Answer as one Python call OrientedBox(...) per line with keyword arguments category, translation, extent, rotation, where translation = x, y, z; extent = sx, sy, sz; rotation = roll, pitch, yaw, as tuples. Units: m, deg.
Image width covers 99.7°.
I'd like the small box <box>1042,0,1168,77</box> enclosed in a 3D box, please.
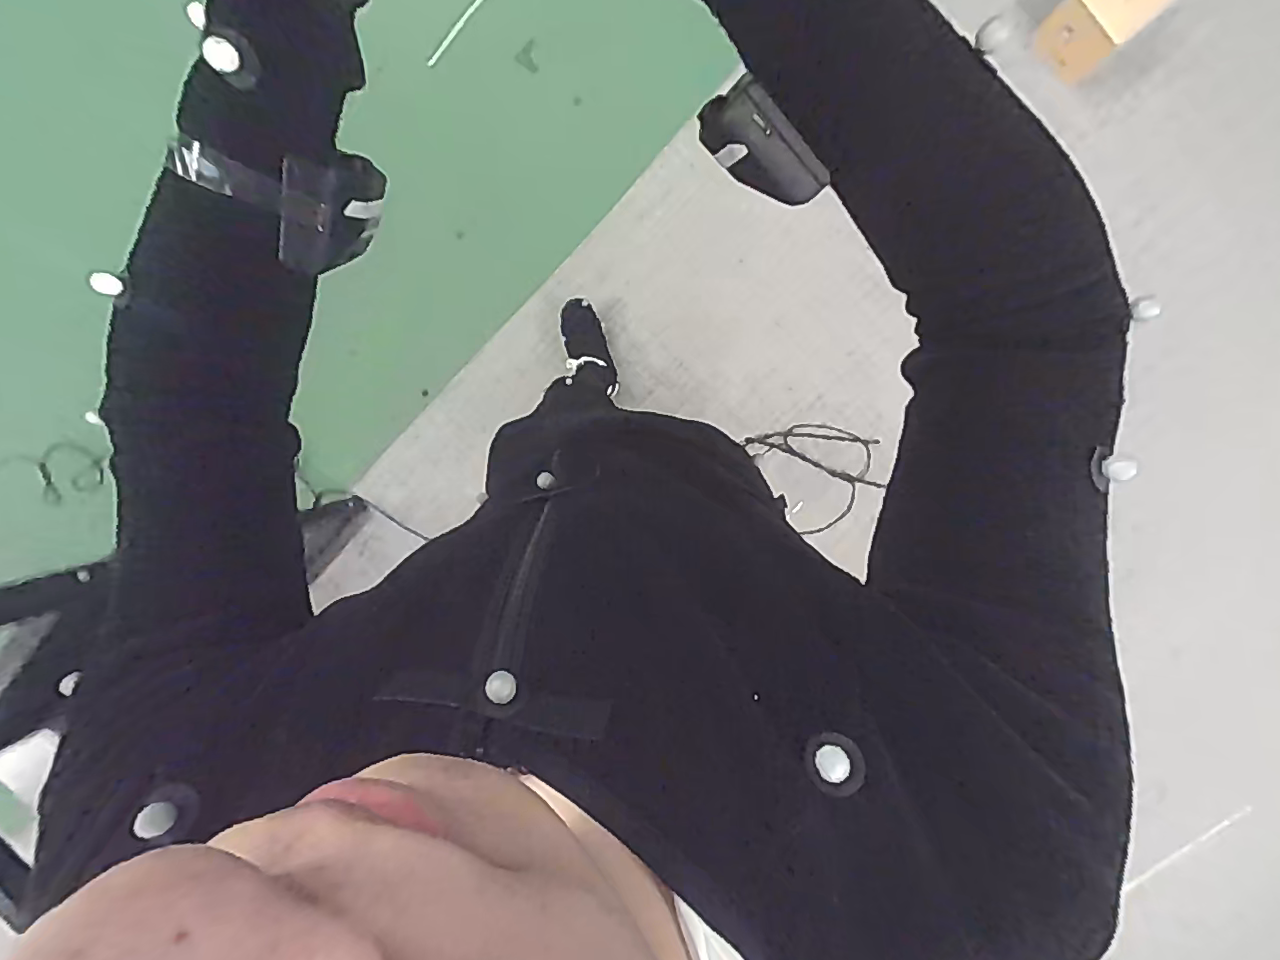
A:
OrientedBox(category="small box", translation=(1.094, -1.107, 1.264), extent=(0.179, 0.176, 0.168), rotation=(-40, 92, 9))
